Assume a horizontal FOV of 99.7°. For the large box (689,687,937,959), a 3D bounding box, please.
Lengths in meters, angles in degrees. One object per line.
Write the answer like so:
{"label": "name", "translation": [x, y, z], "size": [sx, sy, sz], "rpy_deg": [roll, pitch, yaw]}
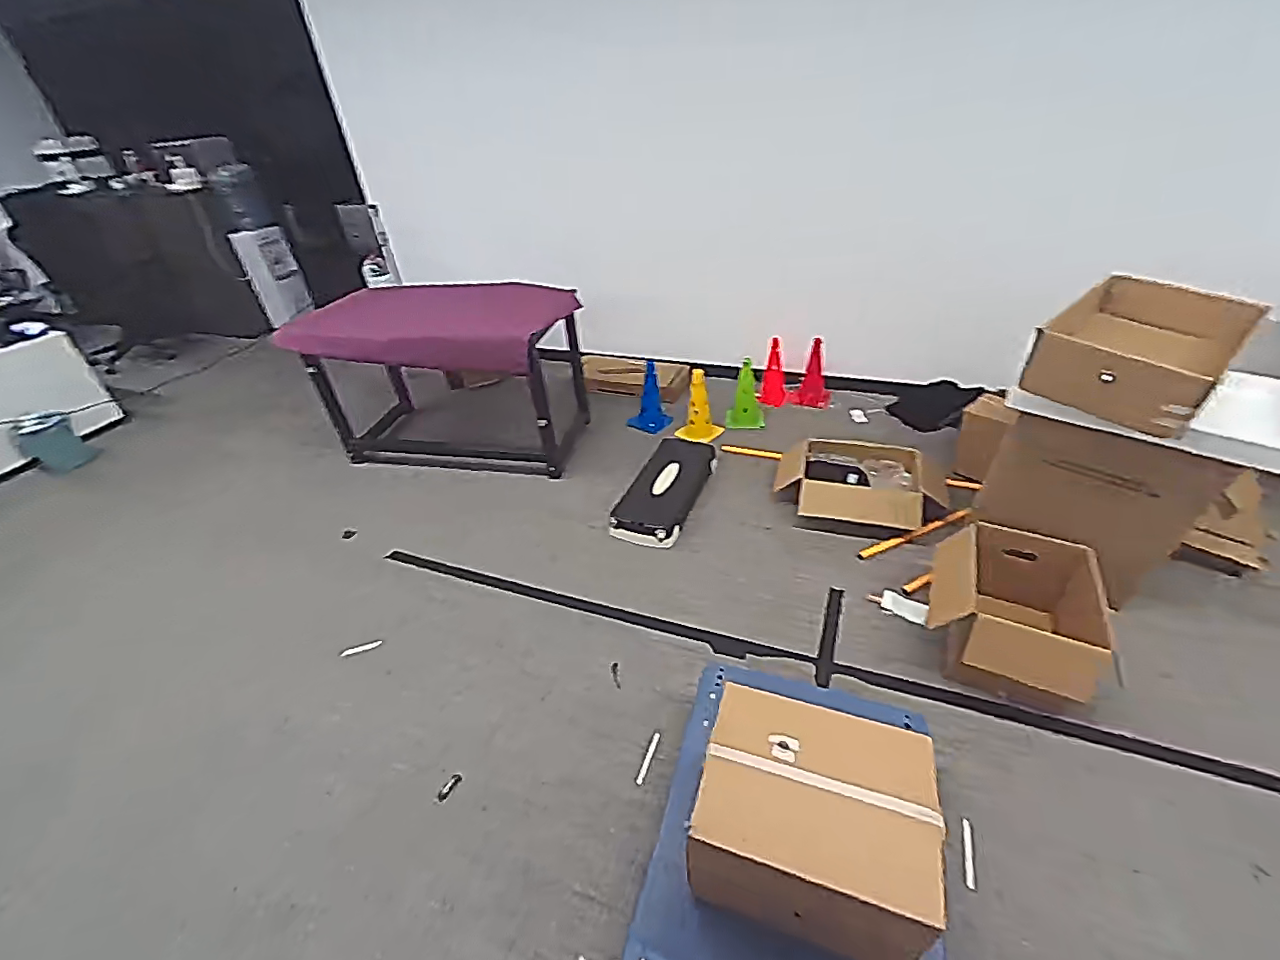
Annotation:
{"label": "large box", "translation": [0.336, 0.681, 1.093], "size": [0.408, 0.320, 0.320], "rpy_deg": [8, 38, 19]}
